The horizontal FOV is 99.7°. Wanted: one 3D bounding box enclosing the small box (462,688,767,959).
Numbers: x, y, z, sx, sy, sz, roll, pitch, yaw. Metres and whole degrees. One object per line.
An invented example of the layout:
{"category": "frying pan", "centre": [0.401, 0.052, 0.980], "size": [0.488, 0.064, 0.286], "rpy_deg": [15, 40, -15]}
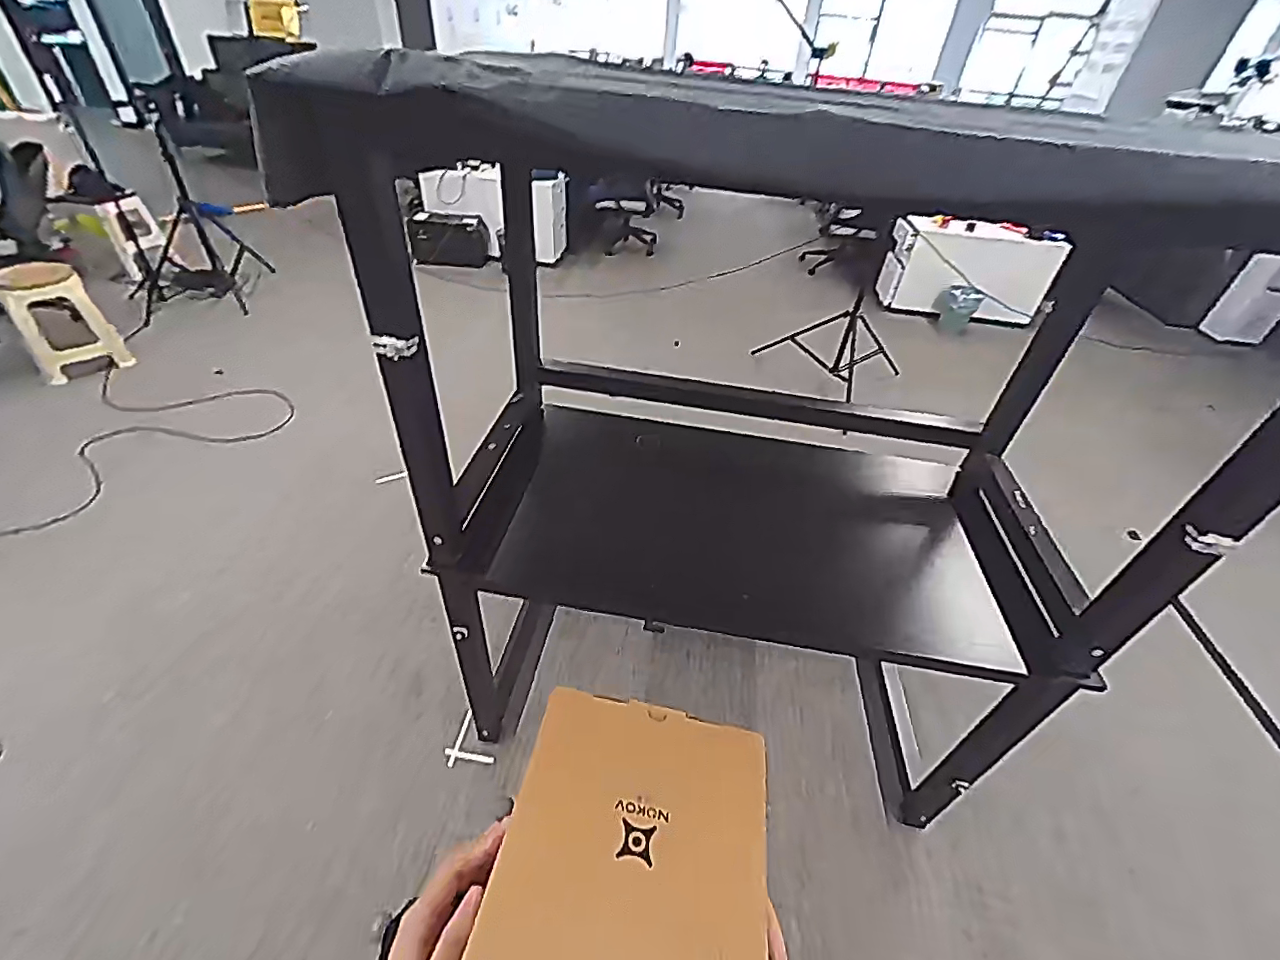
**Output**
{"category": "small box", "centre": [-0.011, 0.288, 0.388], "size": [0.168, 0.176, 0.179], "rpy_deg": [12, 36, 3]}
